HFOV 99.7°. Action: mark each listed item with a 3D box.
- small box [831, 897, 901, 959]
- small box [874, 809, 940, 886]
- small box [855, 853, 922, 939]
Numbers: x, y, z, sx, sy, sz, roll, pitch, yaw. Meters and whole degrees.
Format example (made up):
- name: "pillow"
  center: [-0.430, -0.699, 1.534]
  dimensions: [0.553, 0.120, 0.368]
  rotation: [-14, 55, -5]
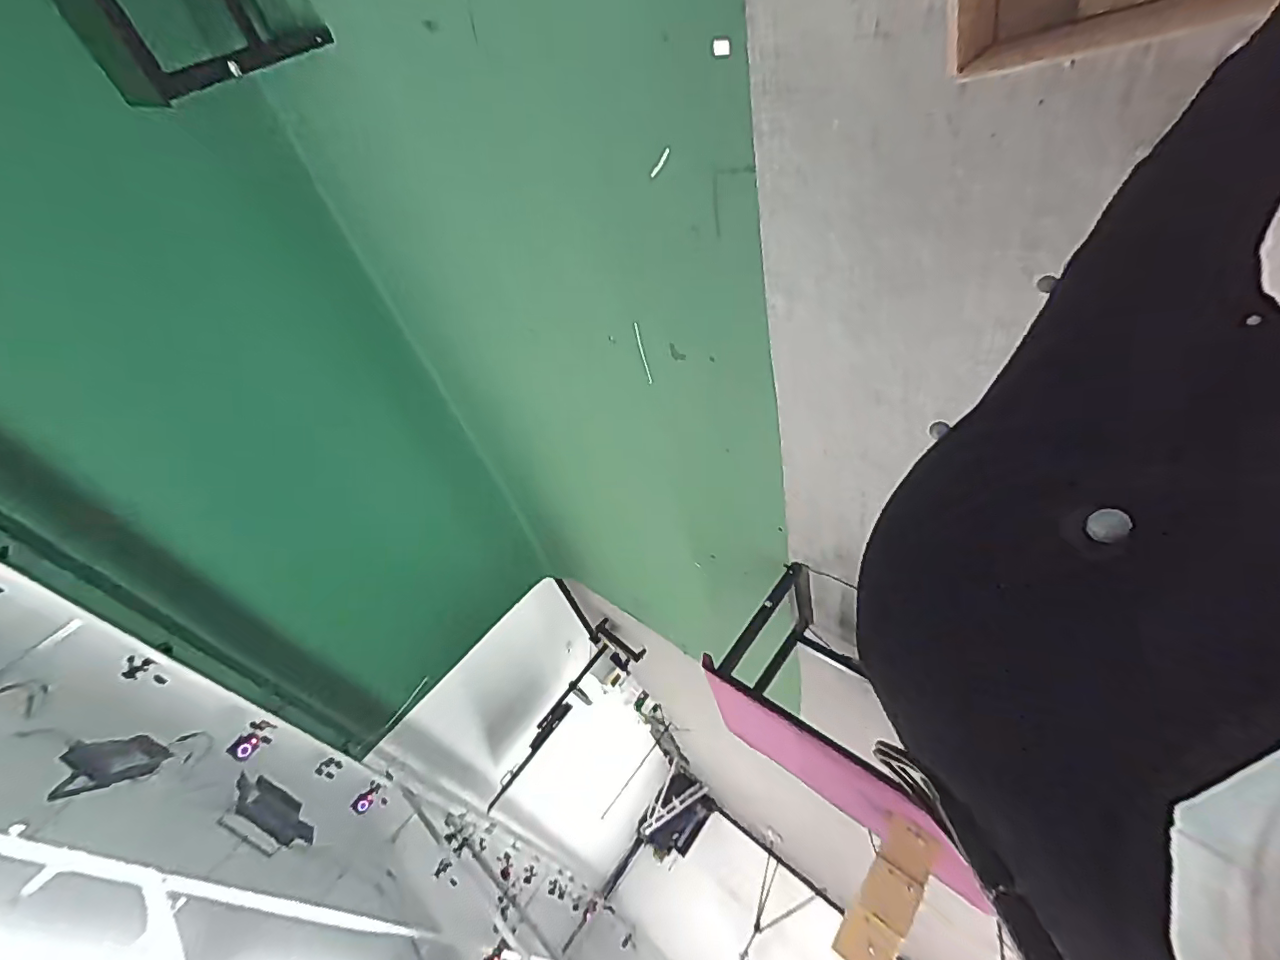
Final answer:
- name: "small box"
  center: [0.754, 1.536, 1.801]
  dimensions: [0.168, 0.176, 0.179]
  rotation: [20, 147, 39]
- name: "small box"
  center: [0.961, 1.332, 1.947]
  dimensions: [0.168, 0.176, 0.179]
  rotation: [22, 147, 37]
- name: "small box"
  center: [0.858, 1.432, 1.869]
  dimensions: [0.168, 0.176, 0.179]
  rotation: [22, 148, 37]
